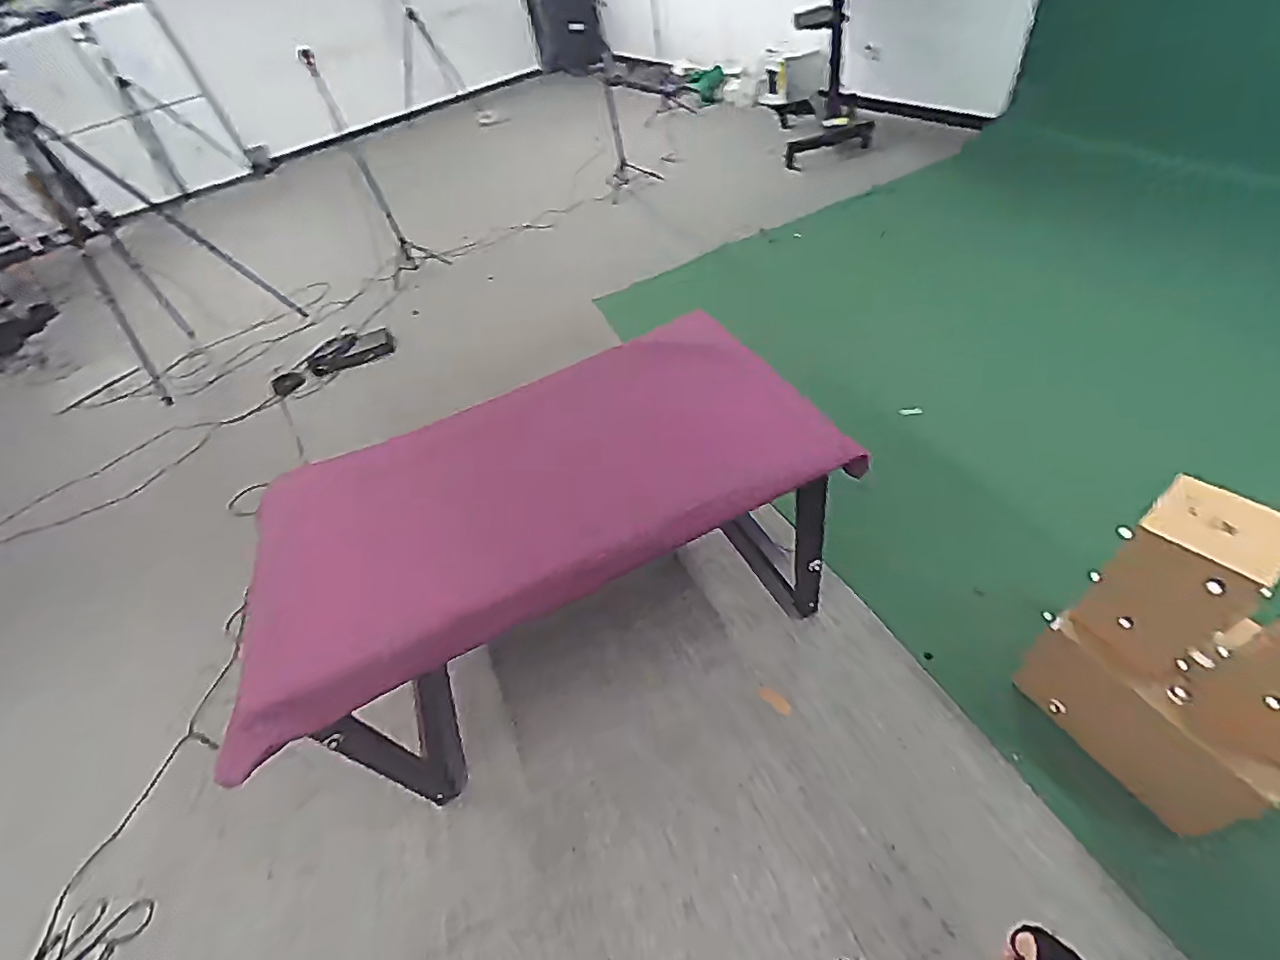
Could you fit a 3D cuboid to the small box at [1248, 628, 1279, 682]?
[{"bbox_3d":[1.098,0.262,0.799,0.168,0.176,0.179,-26,45,-7],"label":"small box"}]
